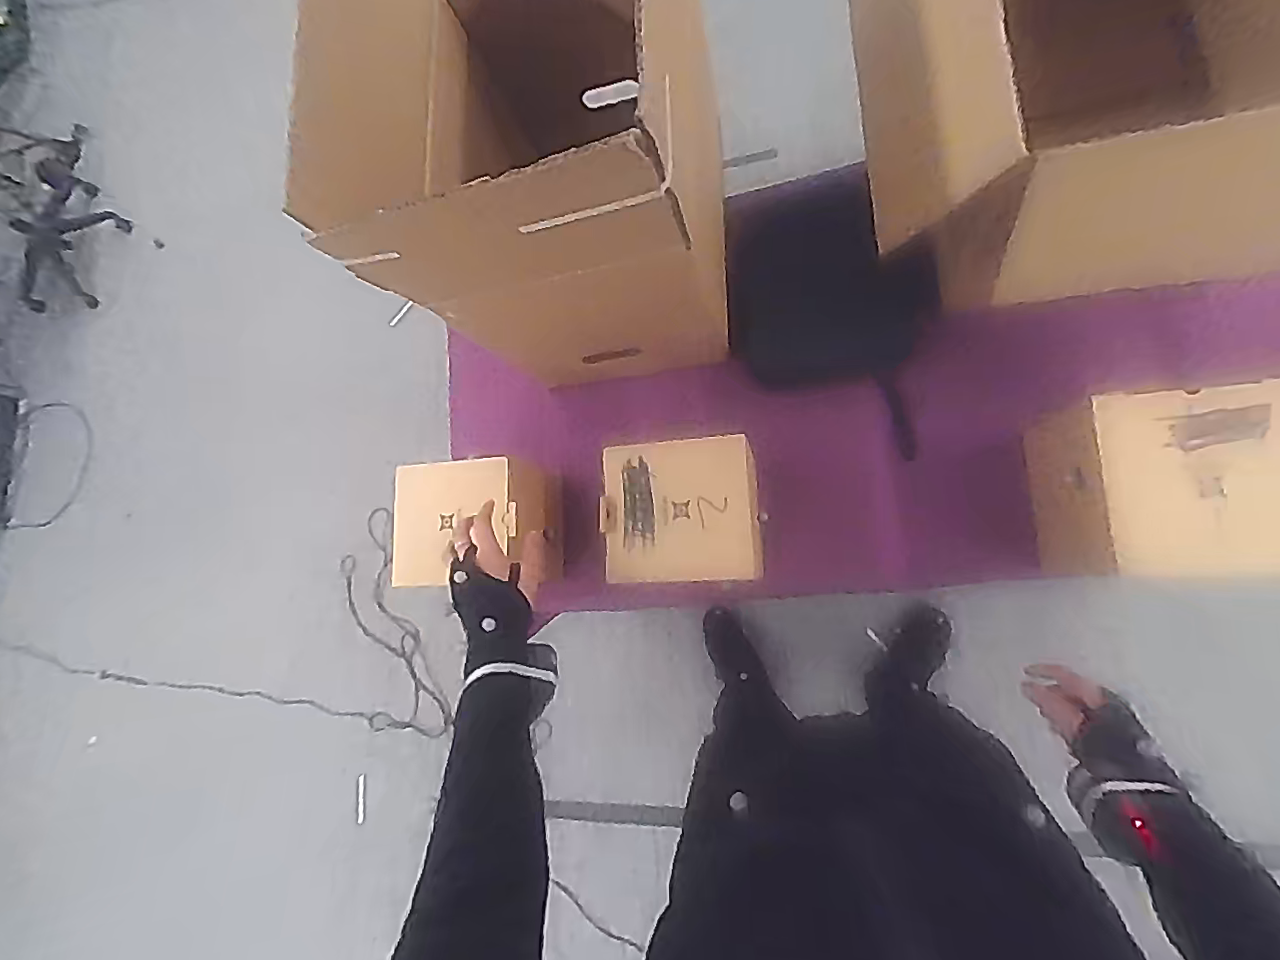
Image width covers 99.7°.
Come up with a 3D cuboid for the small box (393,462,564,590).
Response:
[{"bbox_3d":[-0.225,0.075,0.784,0.179,0.176,0.168,-4,80,14],"label":"small box"}]

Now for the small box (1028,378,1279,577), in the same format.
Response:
[{"bbox_3d":[0.538,0.011,0.565,0.168,0.176,0.179,-5,81,16],"label":"small box"}]
